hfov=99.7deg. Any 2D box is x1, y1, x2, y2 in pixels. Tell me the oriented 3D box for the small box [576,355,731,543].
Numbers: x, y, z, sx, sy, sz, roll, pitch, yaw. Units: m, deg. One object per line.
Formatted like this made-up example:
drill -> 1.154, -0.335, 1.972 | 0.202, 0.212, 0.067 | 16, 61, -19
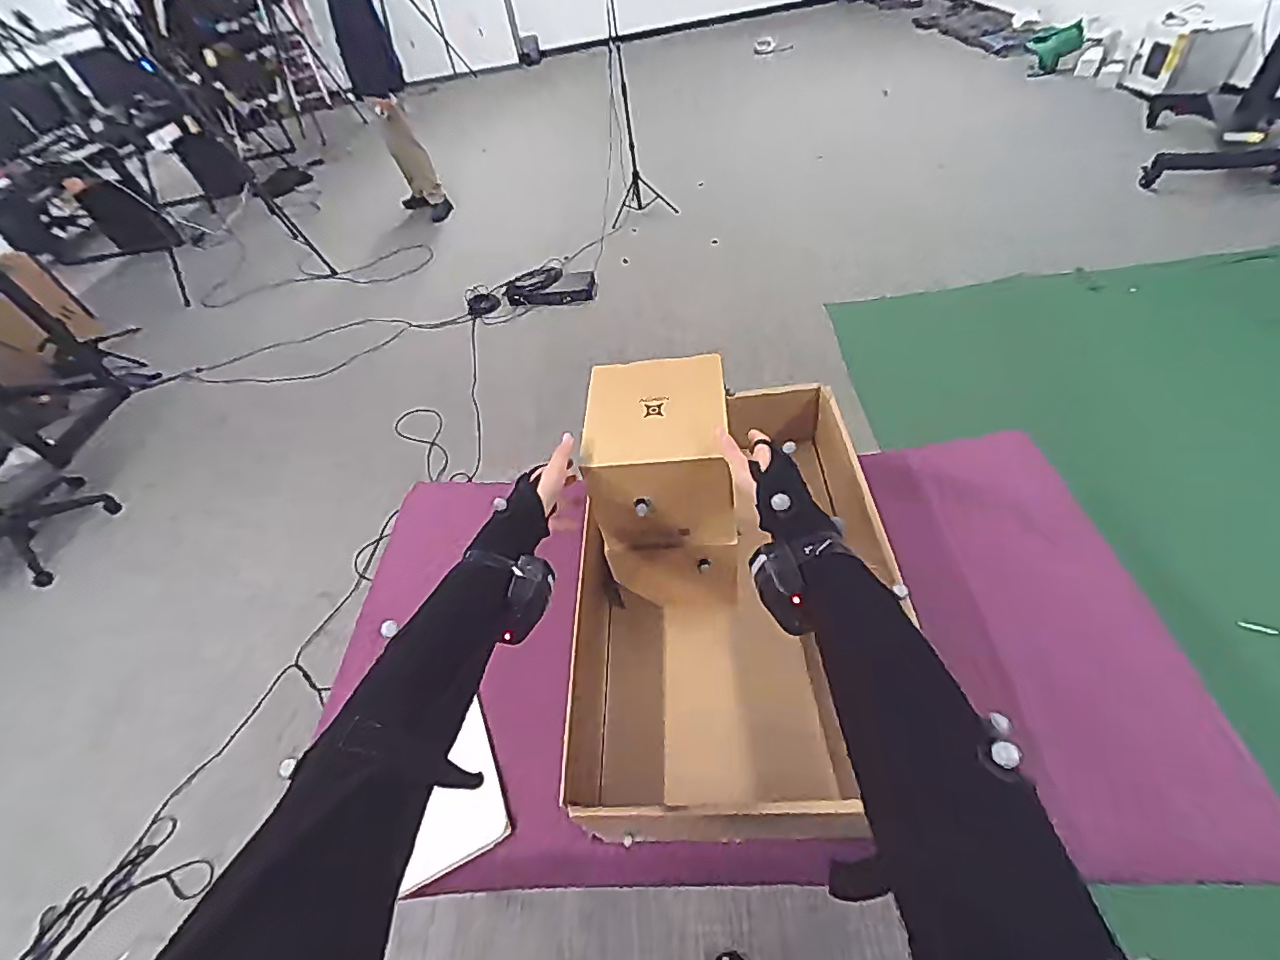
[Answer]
small box -> 0.026, -0.031, 0.688 | 0.168, 0.176, 0.179 | -4, 49, 8
